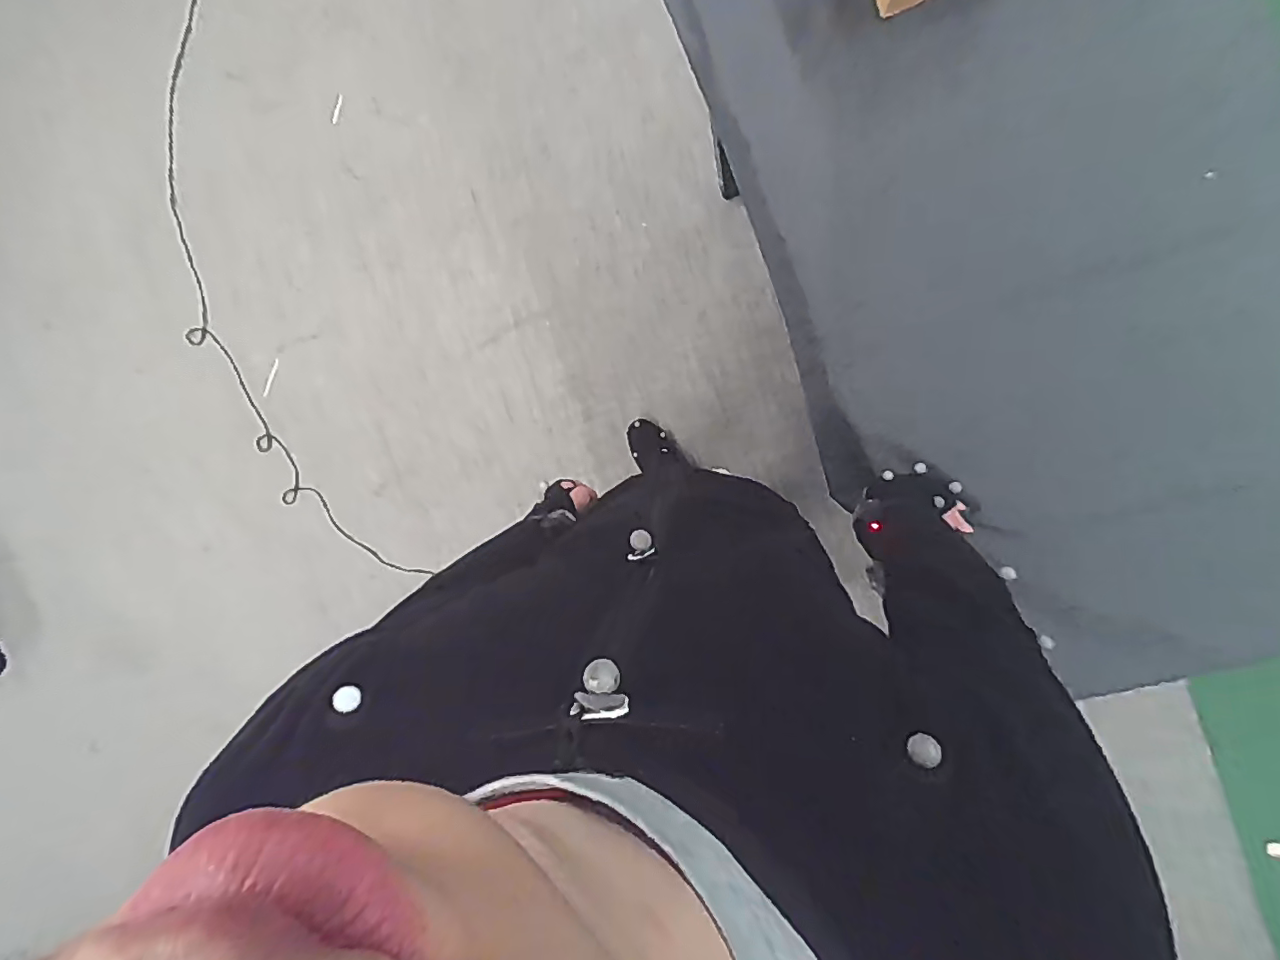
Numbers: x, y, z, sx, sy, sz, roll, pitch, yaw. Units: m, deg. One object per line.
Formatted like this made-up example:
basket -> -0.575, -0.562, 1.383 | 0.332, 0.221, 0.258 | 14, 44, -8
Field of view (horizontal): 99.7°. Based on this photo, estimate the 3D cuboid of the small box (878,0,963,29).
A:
small box -> 0.374, -0.703, 0.644 | 0.179, 0.176, 0.168 | -18, 88, 13
